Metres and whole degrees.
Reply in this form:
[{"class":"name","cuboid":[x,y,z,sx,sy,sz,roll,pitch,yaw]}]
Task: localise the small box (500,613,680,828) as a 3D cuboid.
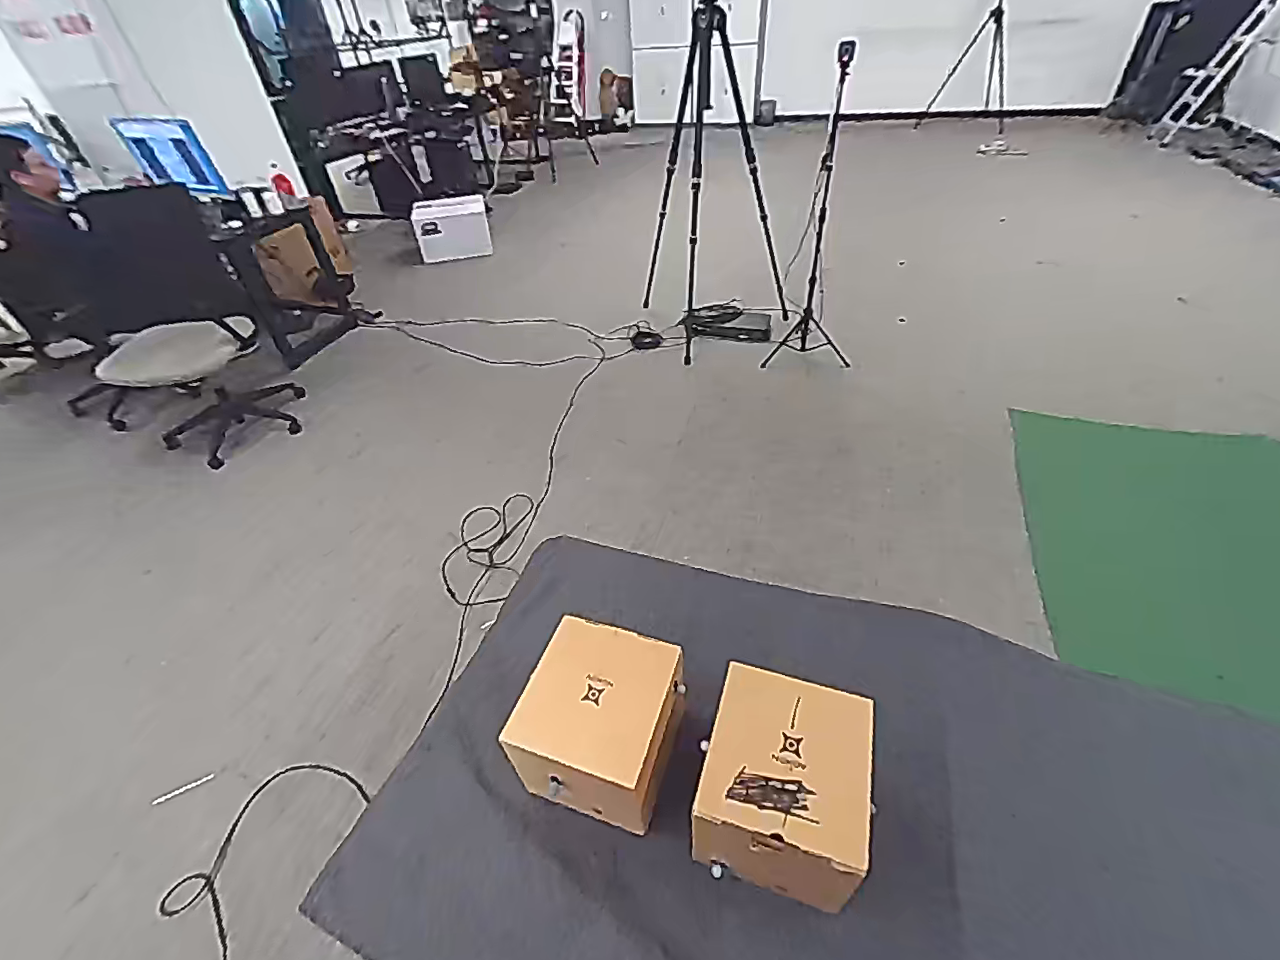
[{"class":"small box","cuboid":[-0.047,0.306,0.690,0.168,0.176,0.179,11,43,17]}]
